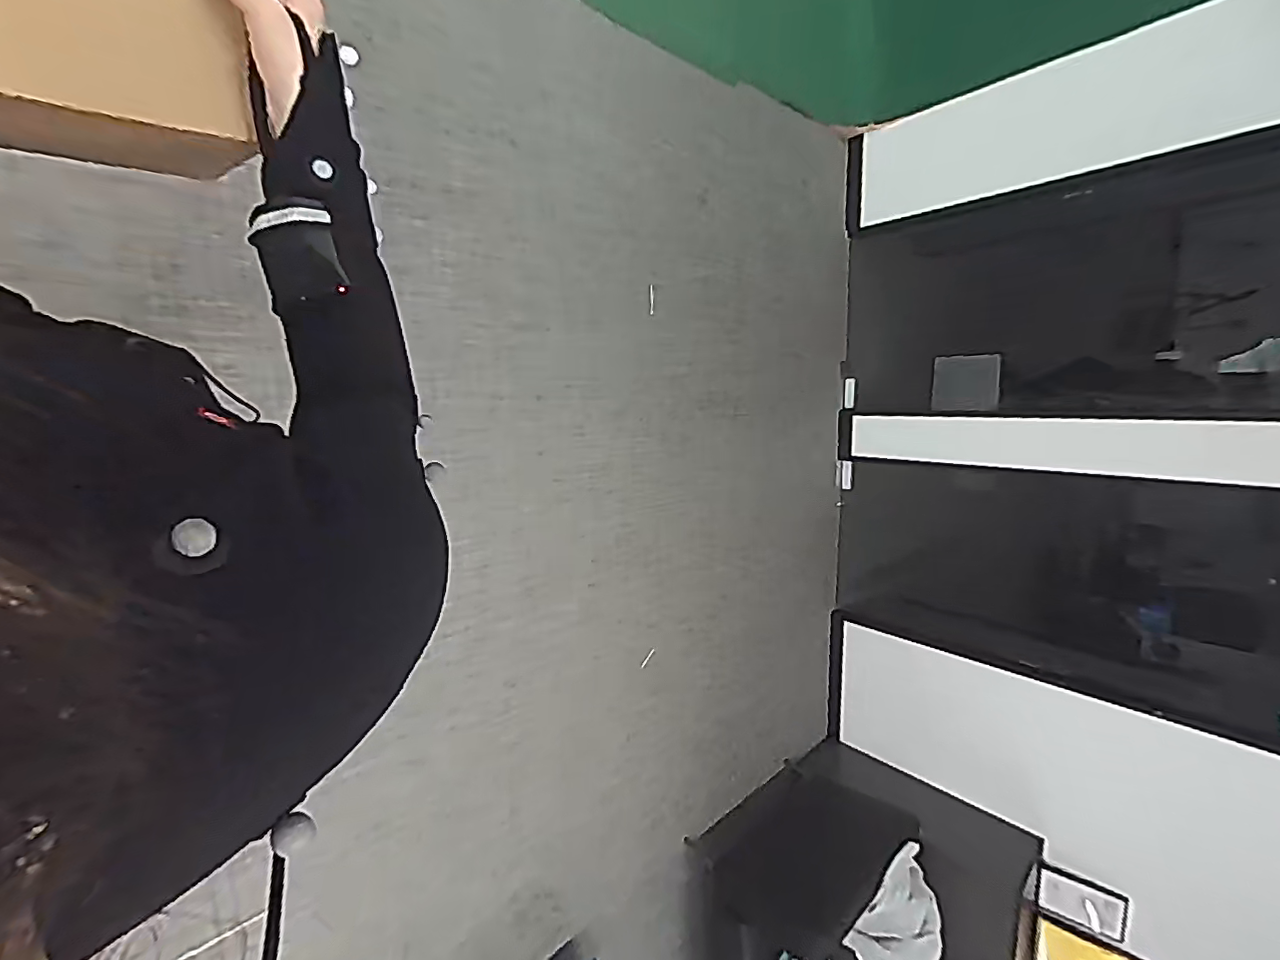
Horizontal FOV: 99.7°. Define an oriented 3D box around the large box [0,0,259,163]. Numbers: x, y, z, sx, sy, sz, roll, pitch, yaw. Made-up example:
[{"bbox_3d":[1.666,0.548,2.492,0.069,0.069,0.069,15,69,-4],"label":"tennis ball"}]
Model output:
[{"bbox_3d":[-0.522,-0.412,0.334,0.408,0.320,0.320,-13,116,-39],"label":"large box"}]
